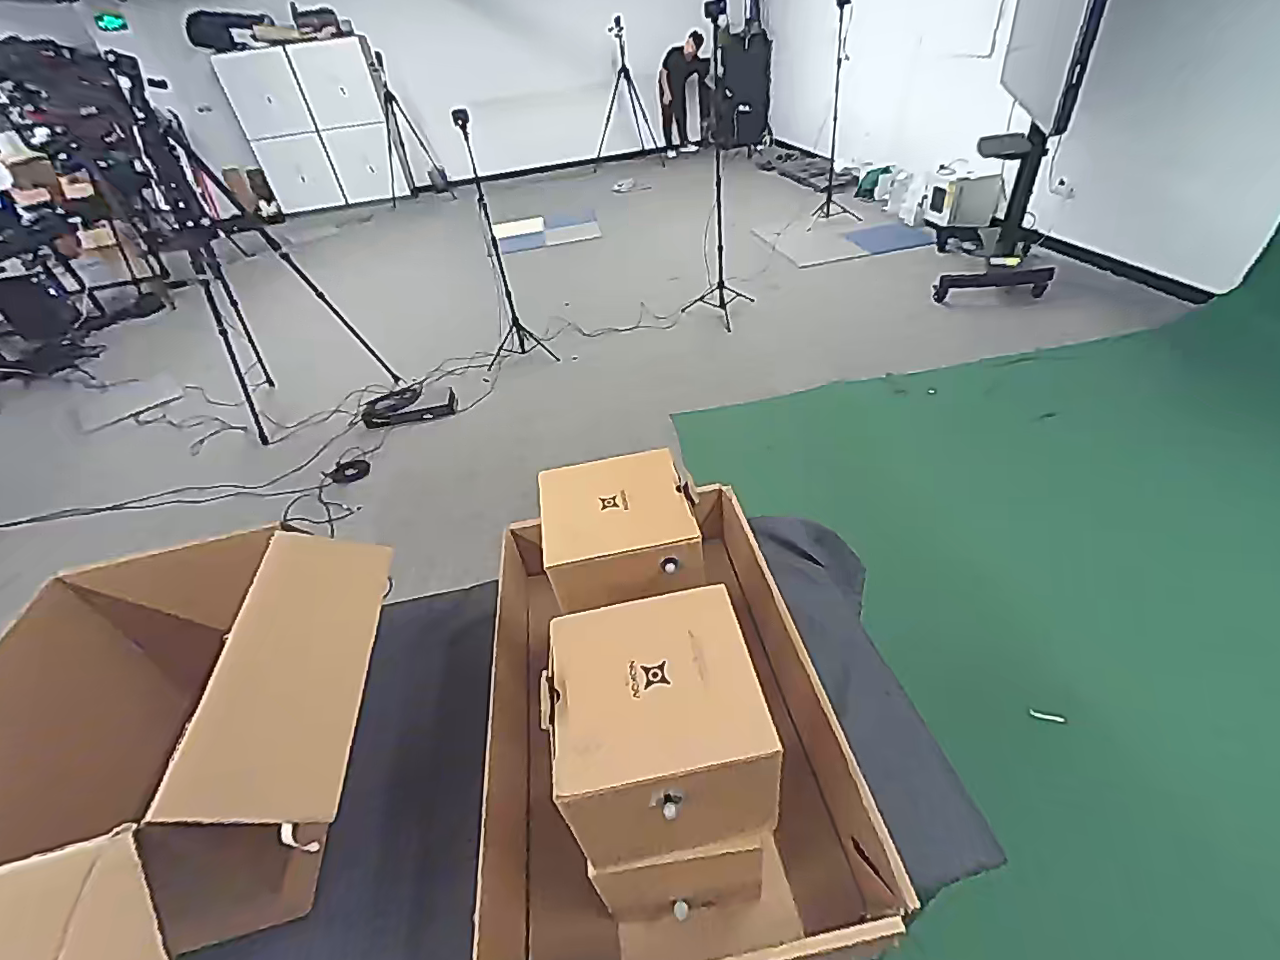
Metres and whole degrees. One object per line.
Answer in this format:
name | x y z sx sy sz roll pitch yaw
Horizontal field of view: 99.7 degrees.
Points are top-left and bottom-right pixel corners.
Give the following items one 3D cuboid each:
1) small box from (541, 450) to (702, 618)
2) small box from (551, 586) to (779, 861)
small box | -0.021 0.089 0.694 0.179 0.176 0.168 -11 42 -3
small box | 0.021 0.231 0.514 0.179 0.176 0.168 -11 40 -2
